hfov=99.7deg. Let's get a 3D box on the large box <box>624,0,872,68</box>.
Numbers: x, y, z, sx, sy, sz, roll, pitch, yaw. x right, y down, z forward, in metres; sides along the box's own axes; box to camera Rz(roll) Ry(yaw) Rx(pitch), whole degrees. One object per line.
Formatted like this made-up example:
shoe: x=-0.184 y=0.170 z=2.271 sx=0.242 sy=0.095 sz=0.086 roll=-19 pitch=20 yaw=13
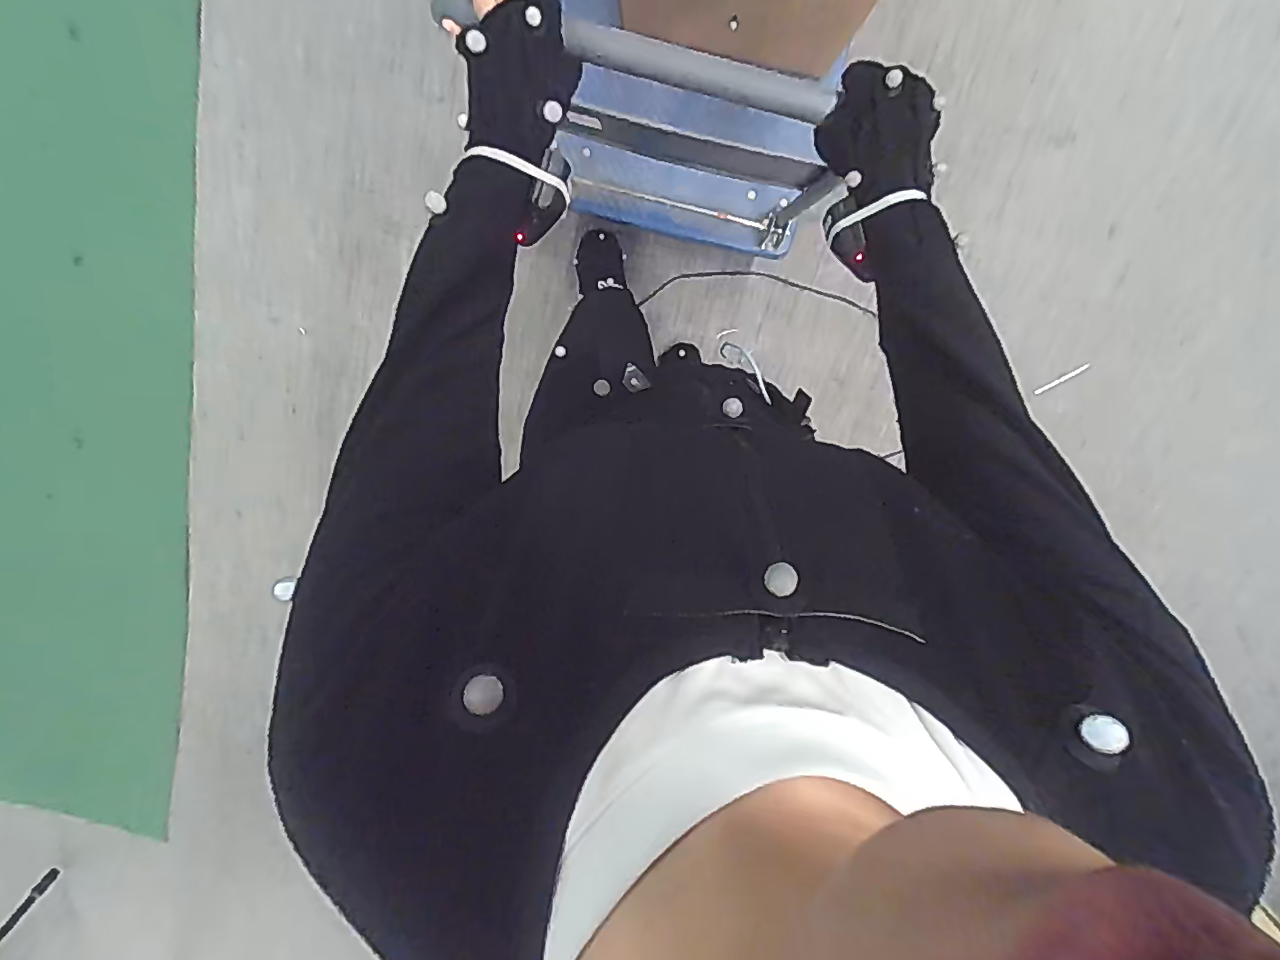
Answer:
large box: x=0.192 y=-0.936 z=0.874 sx=0.408 sy=0.320 sz=0.320 roll=12 pitch=107 yaw=-1
